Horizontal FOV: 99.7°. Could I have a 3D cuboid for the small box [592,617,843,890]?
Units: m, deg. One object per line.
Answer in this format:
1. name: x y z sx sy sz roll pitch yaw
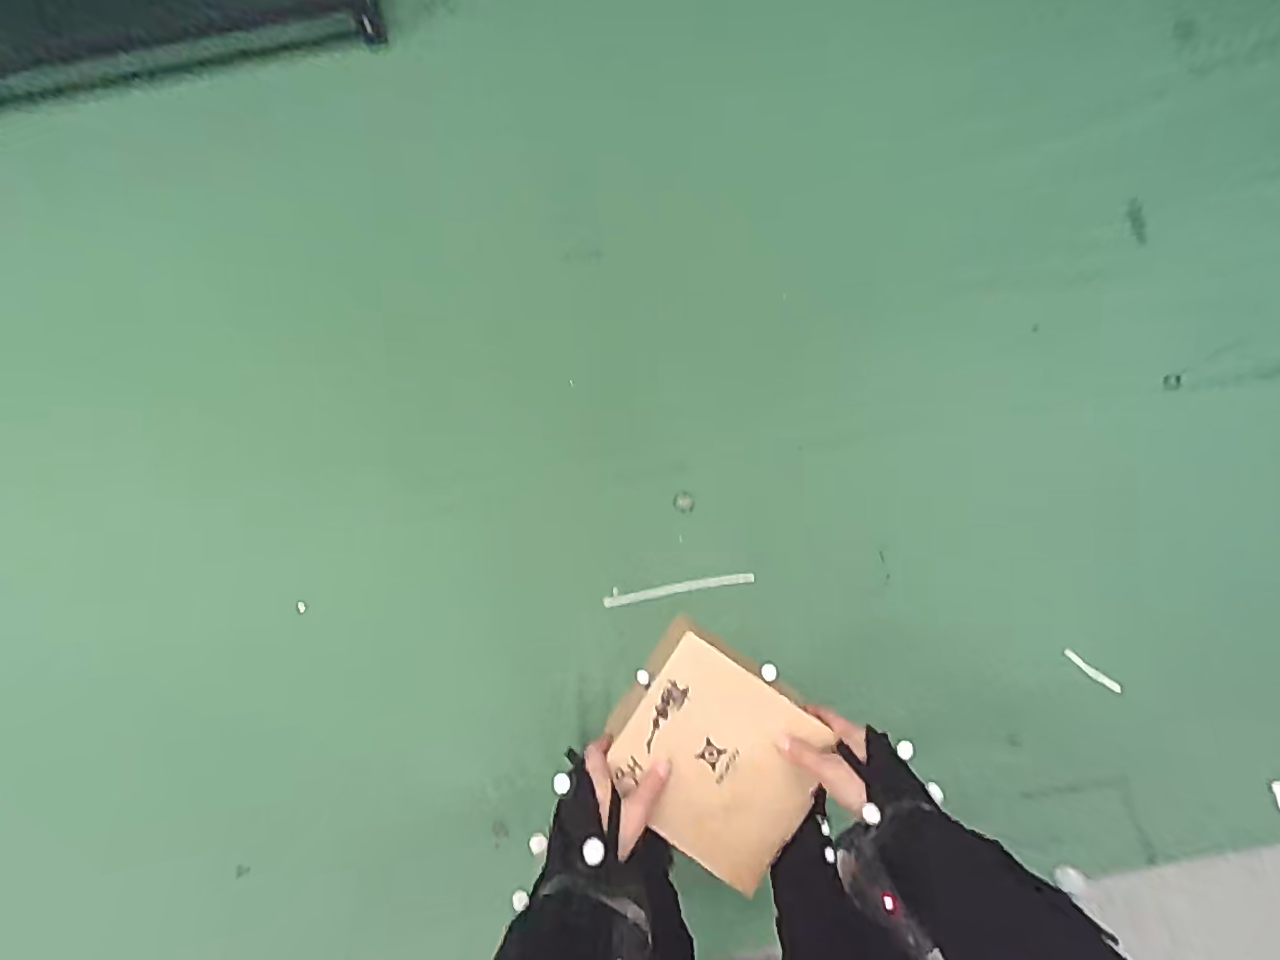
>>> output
1. small box: 0.073 0.263 0.574 0.179 0.176 0.168 34 84 5
